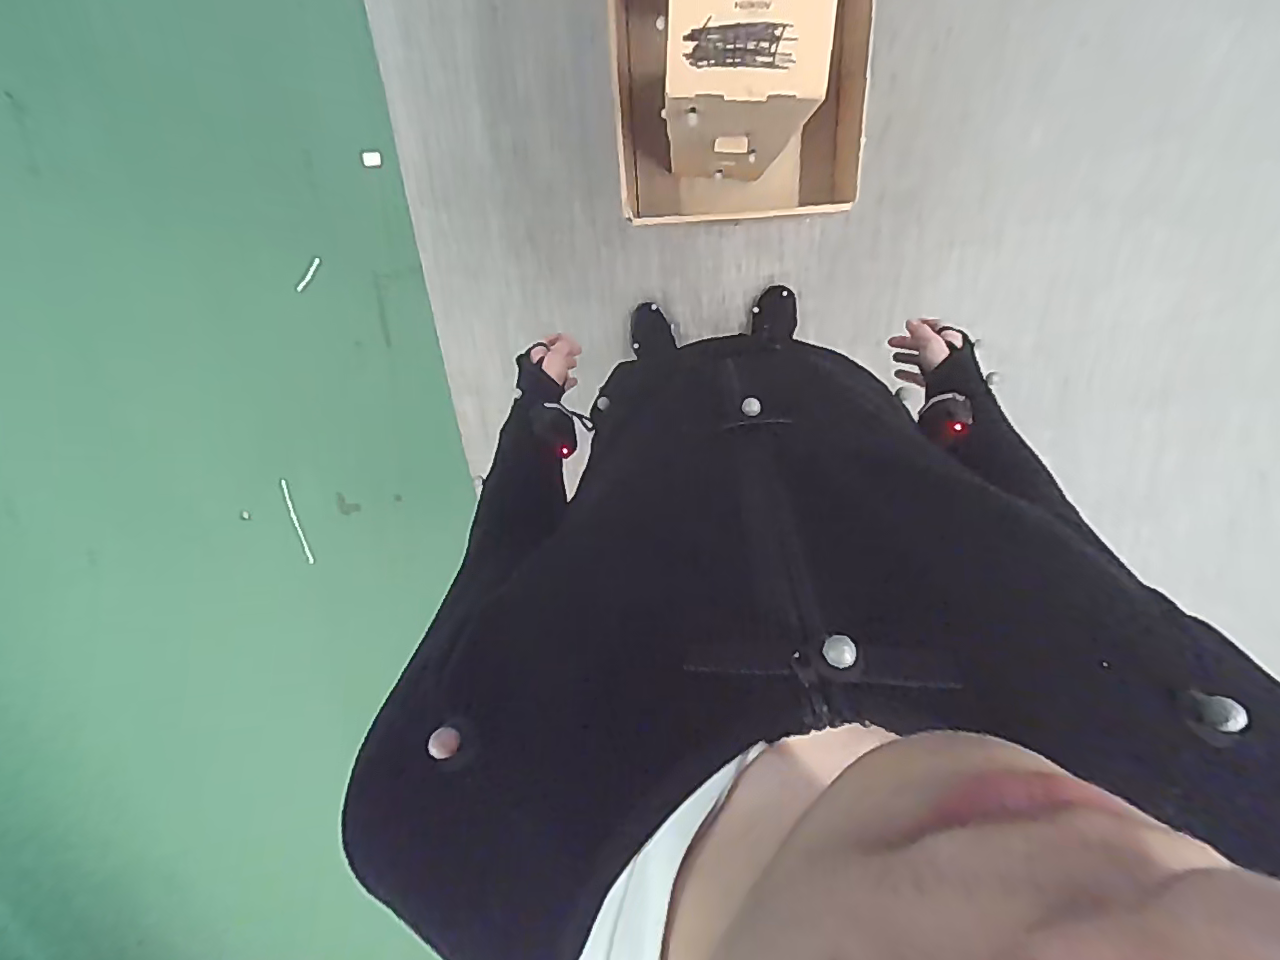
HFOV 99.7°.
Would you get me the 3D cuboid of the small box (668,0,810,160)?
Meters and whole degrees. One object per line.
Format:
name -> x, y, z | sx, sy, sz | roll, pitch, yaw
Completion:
small box -> 0.128, -0.560, 0.751 | 0.168, 0.176, 0.179 | 3, 110, 2
